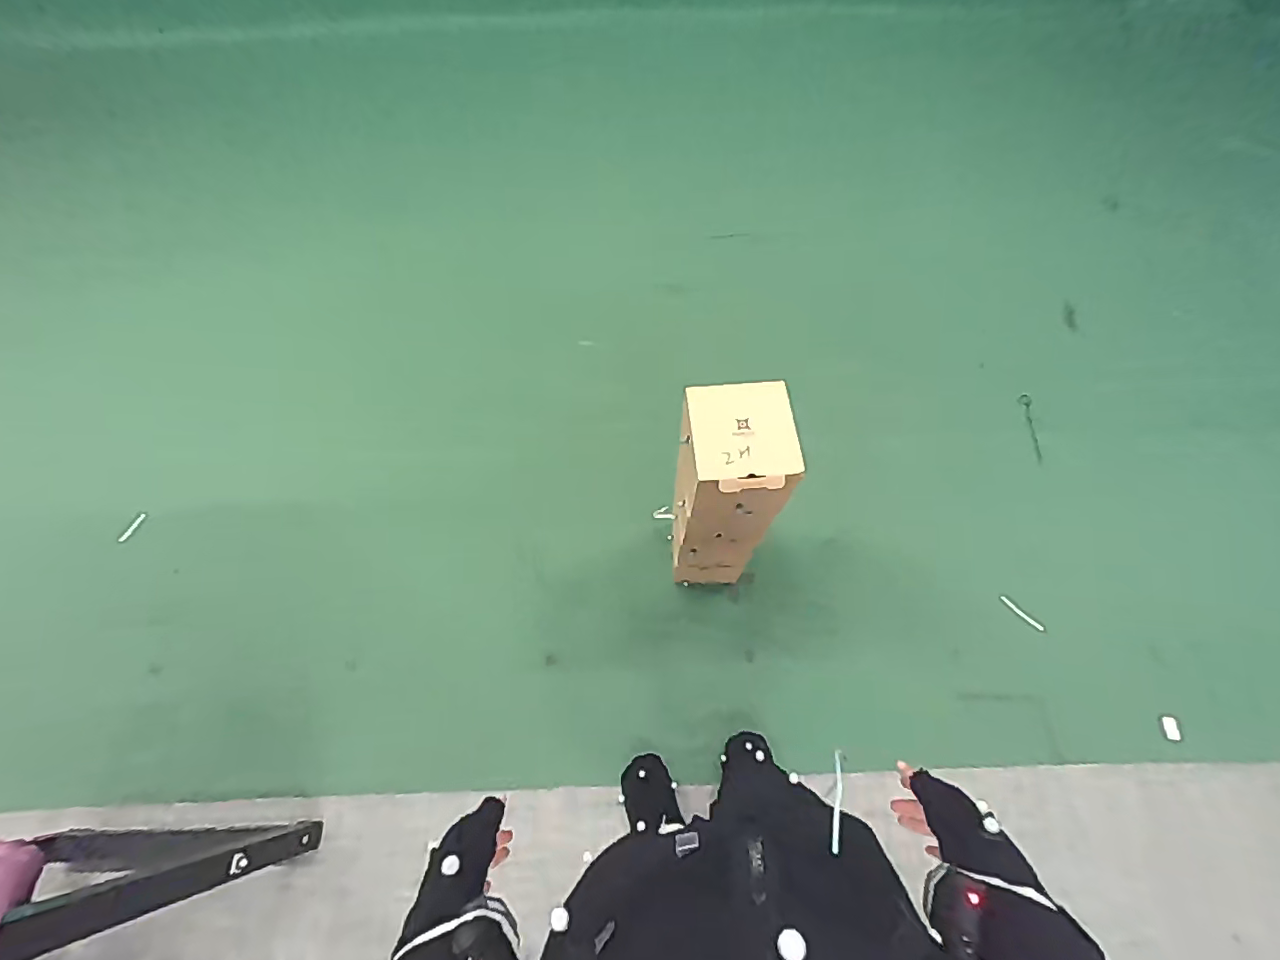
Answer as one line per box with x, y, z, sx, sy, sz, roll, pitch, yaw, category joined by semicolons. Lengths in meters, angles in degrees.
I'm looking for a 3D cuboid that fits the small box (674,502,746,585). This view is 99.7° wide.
0.173;0.167;1.378;0.168;0.176;0.179;0;65;1;small box

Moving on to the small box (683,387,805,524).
0.167;-0.038;0.930;0.168;0.176;0.179;-4;65;-1;small box

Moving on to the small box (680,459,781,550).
0.170;0.029;1.081;0.168;0.176;0.179;-3;65;0;small box
